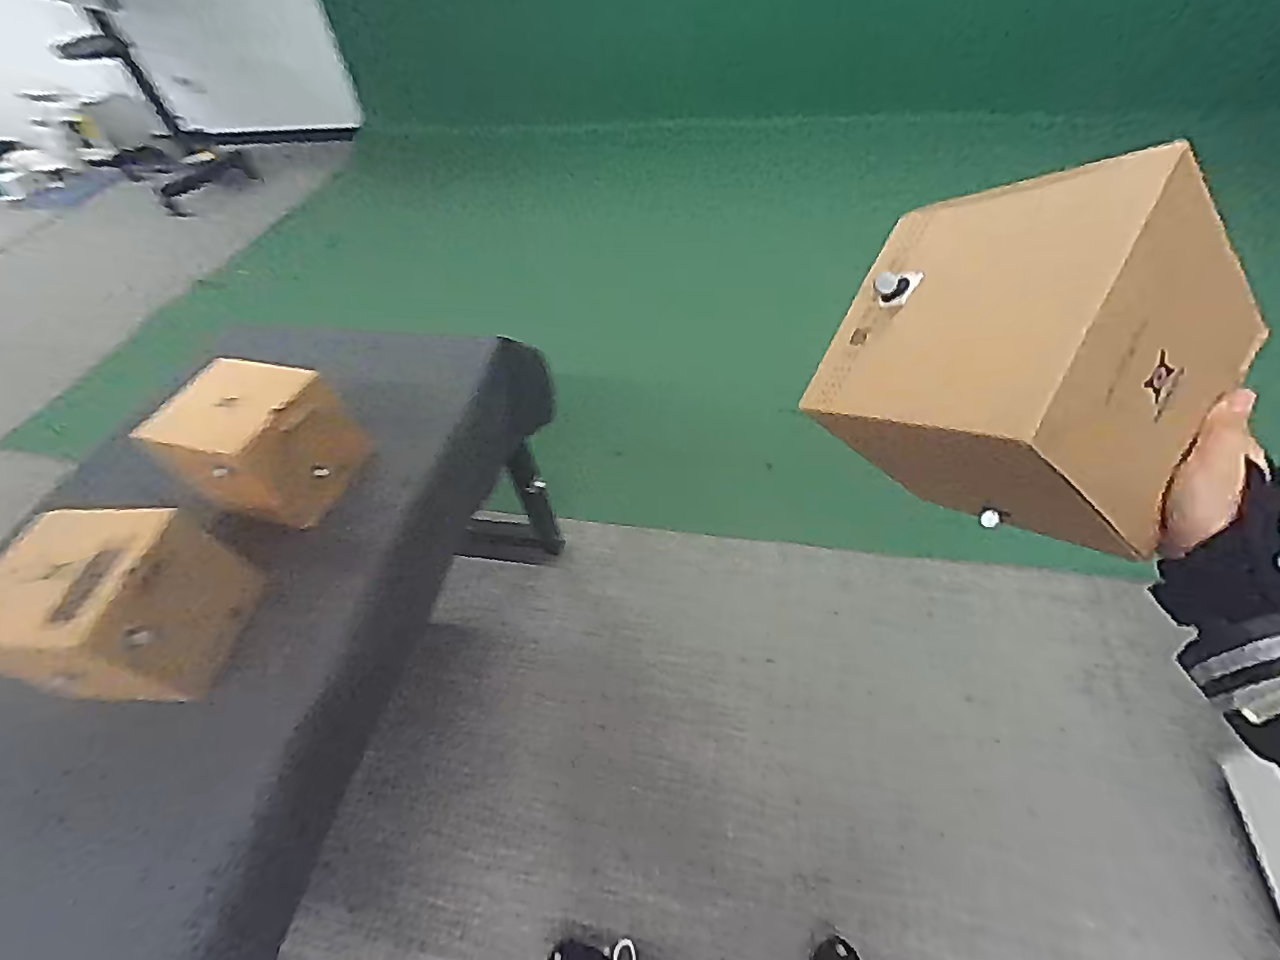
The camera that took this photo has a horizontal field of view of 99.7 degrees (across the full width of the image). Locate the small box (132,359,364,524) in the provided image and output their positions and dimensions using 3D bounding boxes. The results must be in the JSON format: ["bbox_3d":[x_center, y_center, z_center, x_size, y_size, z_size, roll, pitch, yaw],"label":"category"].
[{"bbox_3d":[-0.556,-0.054,0.795,0.179,0.176,0.168,9,53,13],"label":"small box"}]
